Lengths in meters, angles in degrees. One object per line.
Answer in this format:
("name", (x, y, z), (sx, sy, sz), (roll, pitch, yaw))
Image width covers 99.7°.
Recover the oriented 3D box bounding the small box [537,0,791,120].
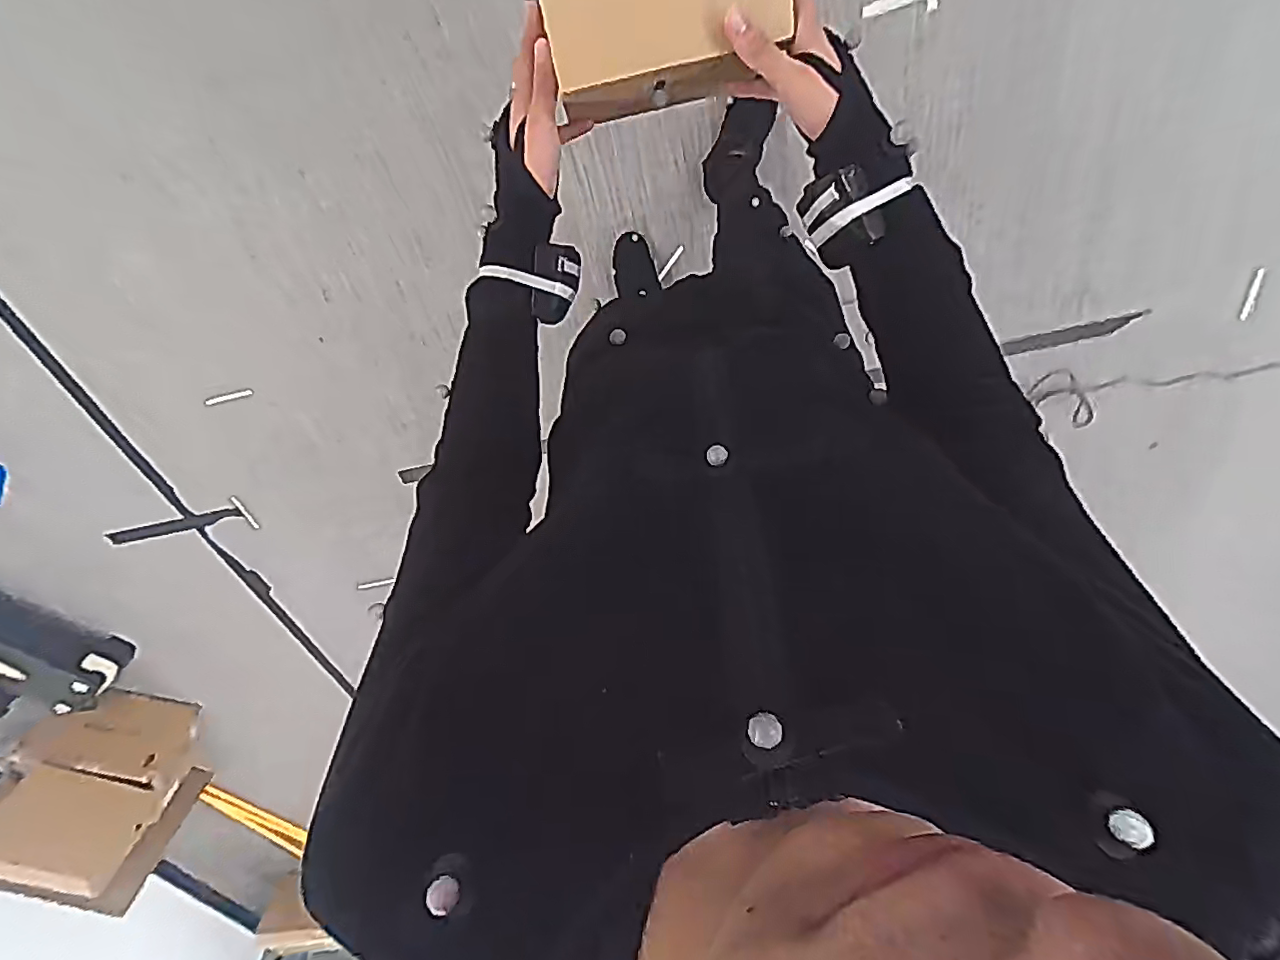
("small box", (0.003, -0.409, 0.428), (0.179, 0.176, 0.168), (-13, 116, 1))
